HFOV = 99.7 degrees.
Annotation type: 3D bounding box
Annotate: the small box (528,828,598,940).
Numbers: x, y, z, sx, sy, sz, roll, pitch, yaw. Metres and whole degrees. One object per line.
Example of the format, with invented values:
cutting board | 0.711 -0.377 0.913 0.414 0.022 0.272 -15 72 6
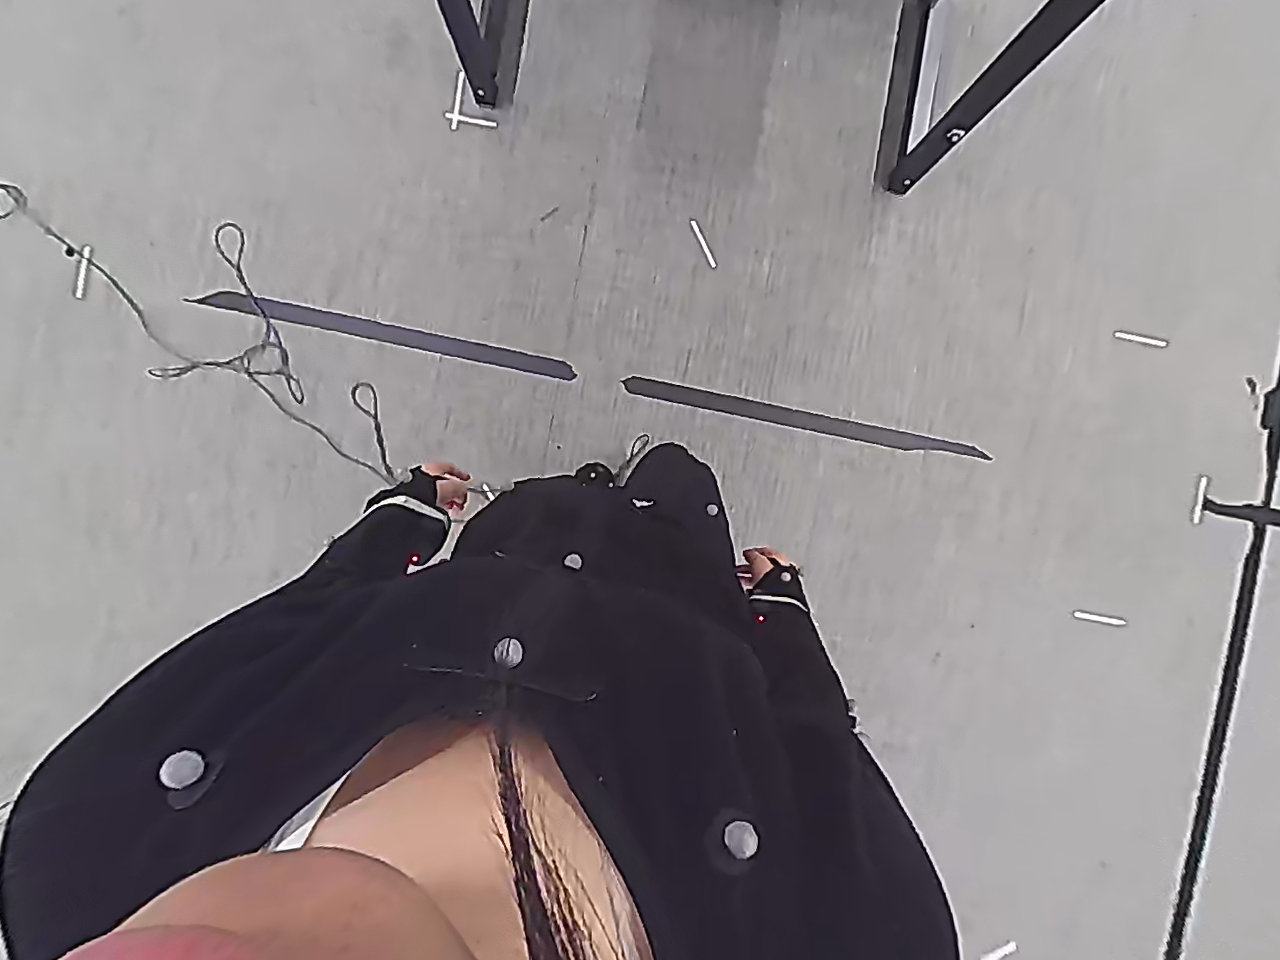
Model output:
small box | -0.195 1.037 1.403 0.168 0.176 0.179 1 91 -3
